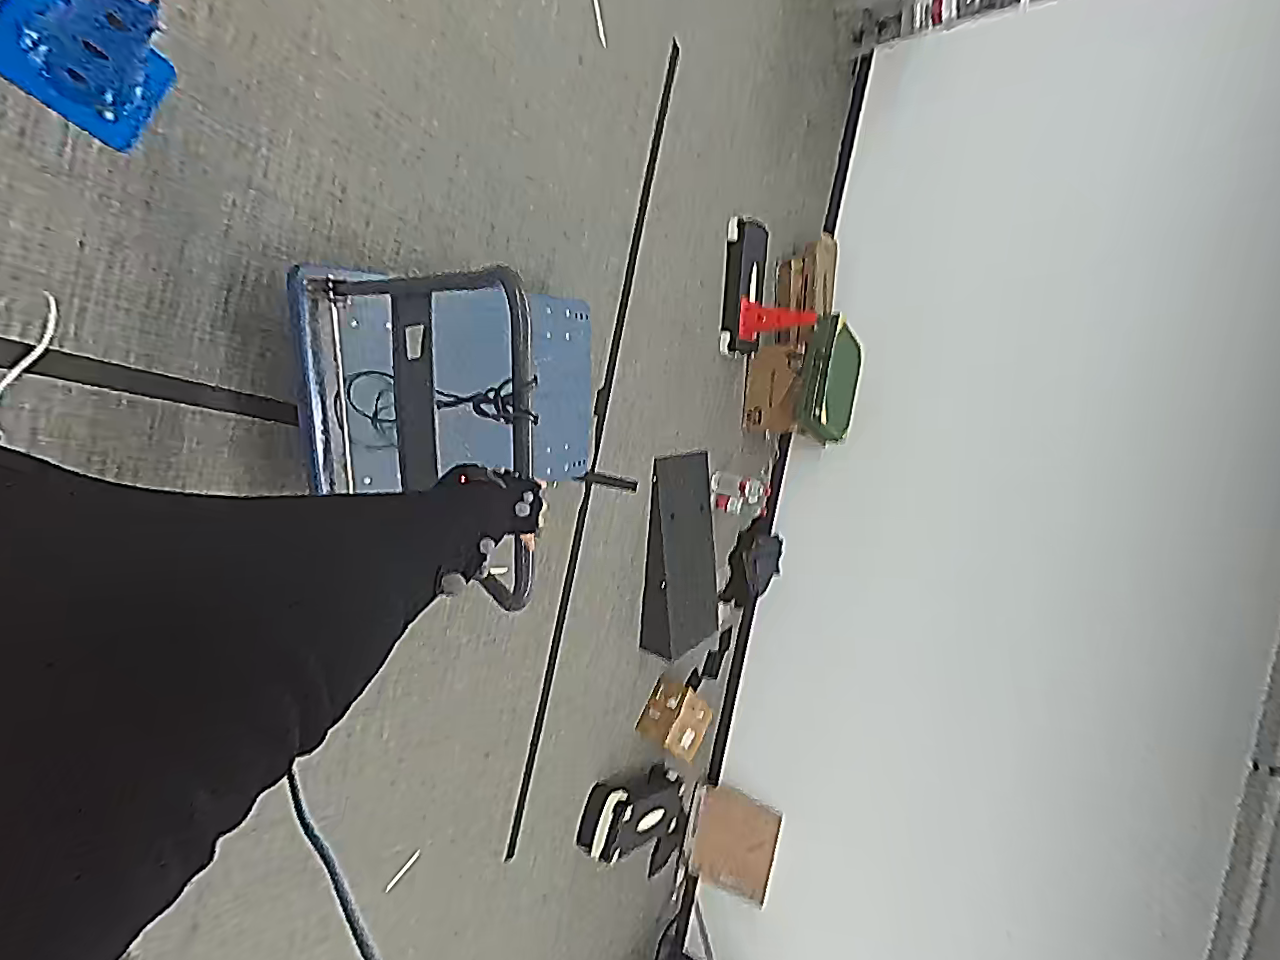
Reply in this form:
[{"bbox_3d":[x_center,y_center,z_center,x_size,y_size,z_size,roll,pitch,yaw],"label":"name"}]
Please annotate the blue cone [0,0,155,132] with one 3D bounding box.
[{"bbox_3d":[-0.809,-0.680,0.793,0.192,0.380,0.193,37,70,-52],"label":"blue cone"}]
